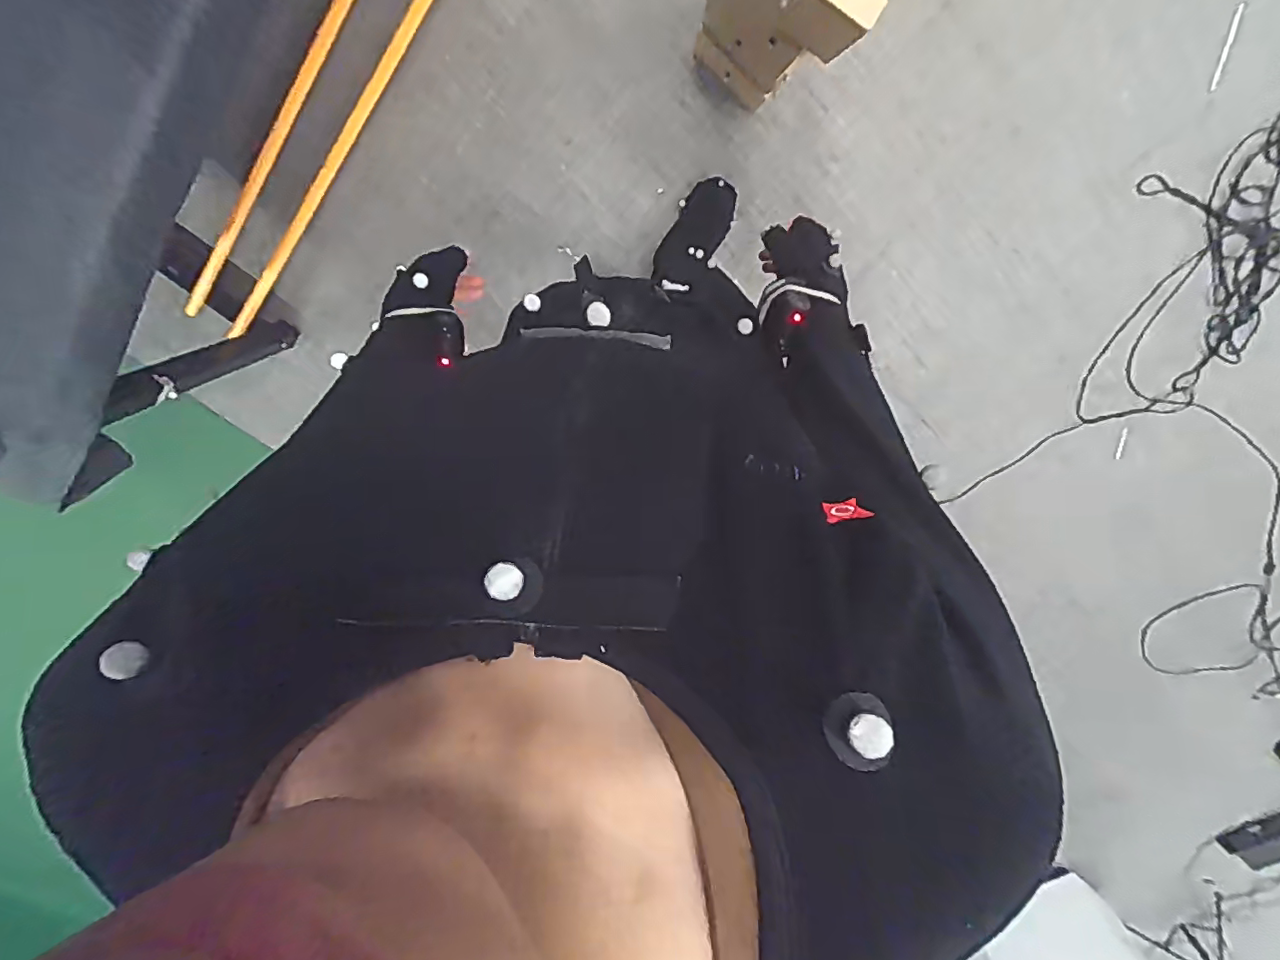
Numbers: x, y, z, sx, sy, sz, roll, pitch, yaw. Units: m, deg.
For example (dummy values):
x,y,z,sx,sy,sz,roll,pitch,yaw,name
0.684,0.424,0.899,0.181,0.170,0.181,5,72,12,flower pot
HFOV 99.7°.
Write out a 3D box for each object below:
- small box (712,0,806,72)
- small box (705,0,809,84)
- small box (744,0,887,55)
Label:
x,y,z,sx,sy,sz,roll,pitch,yaw,name
0.206,-0.709,0.742,0.179,0.176,0.168,39,113,-17,small box
0.225,-0.789,0.883,0.179,0.176,0.168,37,113,-15,small box
0.214,-0.621,0.603,0.179,0.176,0.168,27,116,-12,small box
